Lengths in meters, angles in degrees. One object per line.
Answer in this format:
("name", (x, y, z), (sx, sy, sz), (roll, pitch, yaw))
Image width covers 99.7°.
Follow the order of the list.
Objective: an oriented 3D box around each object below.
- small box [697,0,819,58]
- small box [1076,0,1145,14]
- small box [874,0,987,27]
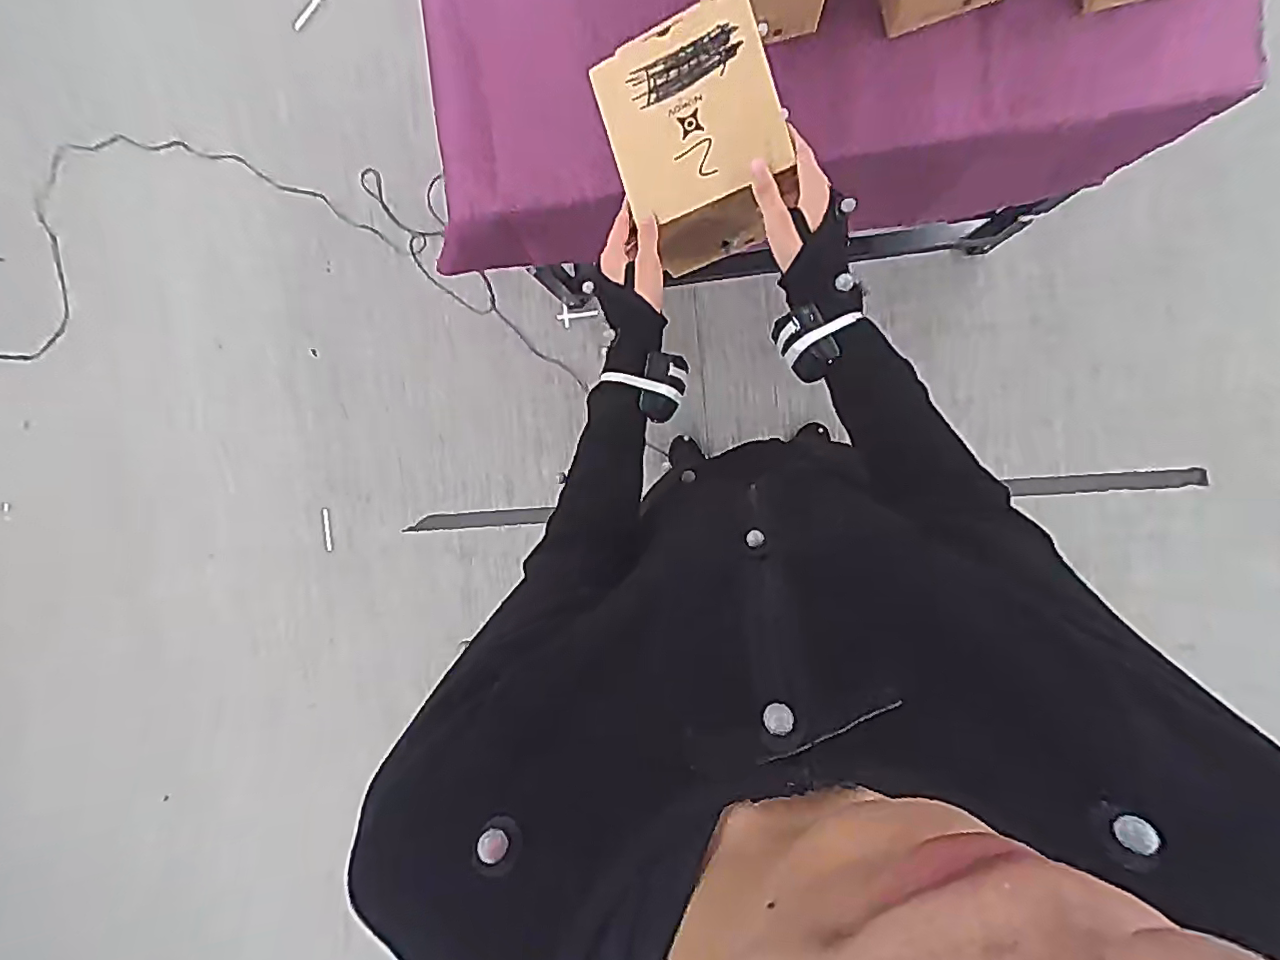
("small box", (0.159, -0.745, 0.749), (0.168, 0.176, 0.179), (-9, 94, 7))
("small box", (0.682, -0.759, 0.685), (0.168, 0.176, 0.179), (-9, 93, 8))
("small box", (0.411, -0.757, 0.717), (0.168, 0.176, 0.179), (-15, 92, 7))
